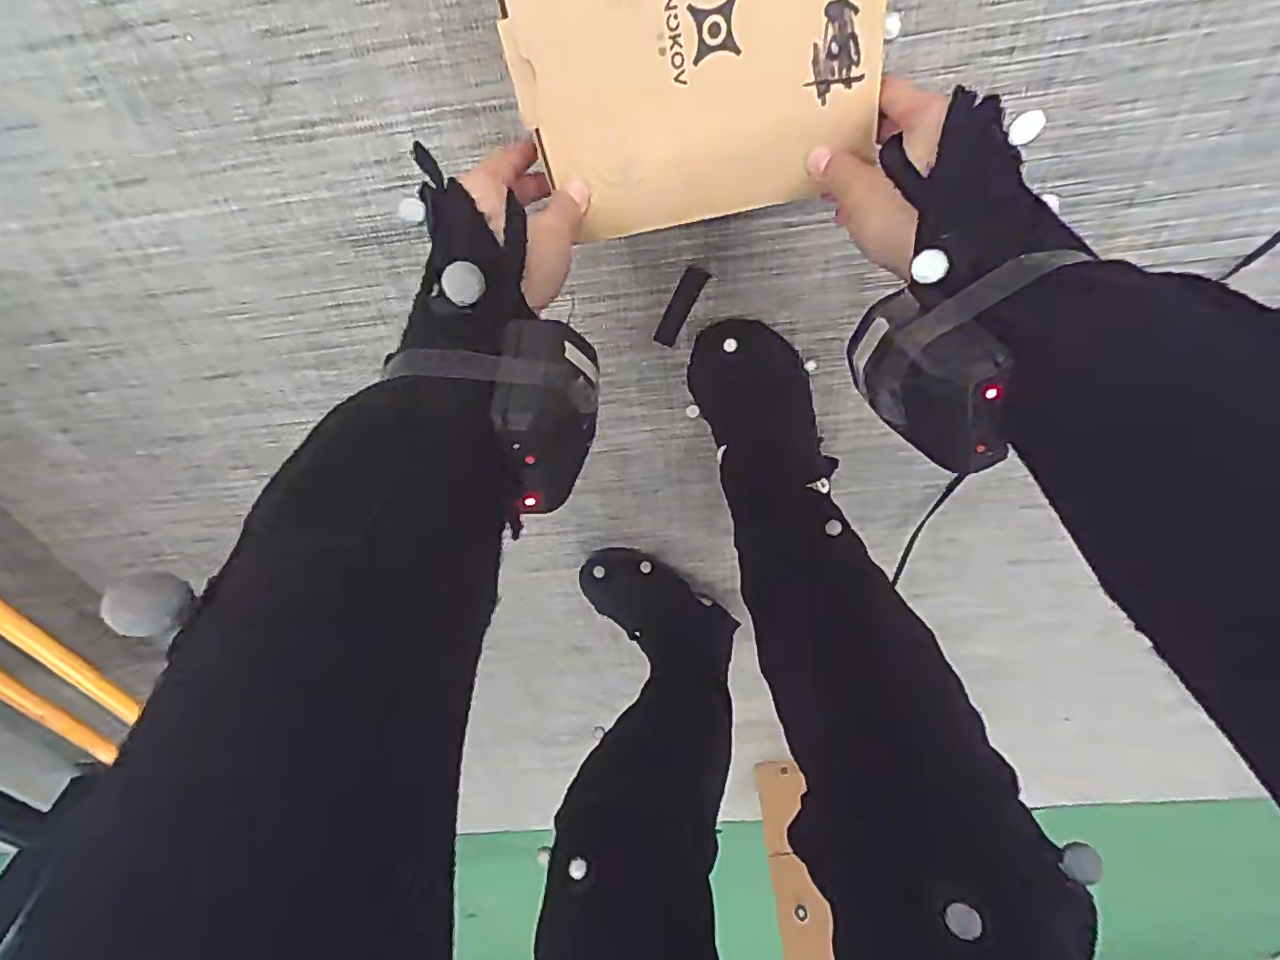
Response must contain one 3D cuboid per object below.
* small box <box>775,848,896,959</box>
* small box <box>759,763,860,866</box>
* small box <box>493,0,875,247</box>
[{"bbox_3d":[0.354,0.800,0.989,0.179,0.176,0.168,-15,130,11],"label":"small box"},{"bbox_3d":[0.349,0.704,1.120,0.168,0.176,0.179,-13,130,10],"label":"small box"},{"bbox_3d":[0.026,-0.261,0.322,0.179,0.176,0.168,-8,130,8],"label":"small box"}]
